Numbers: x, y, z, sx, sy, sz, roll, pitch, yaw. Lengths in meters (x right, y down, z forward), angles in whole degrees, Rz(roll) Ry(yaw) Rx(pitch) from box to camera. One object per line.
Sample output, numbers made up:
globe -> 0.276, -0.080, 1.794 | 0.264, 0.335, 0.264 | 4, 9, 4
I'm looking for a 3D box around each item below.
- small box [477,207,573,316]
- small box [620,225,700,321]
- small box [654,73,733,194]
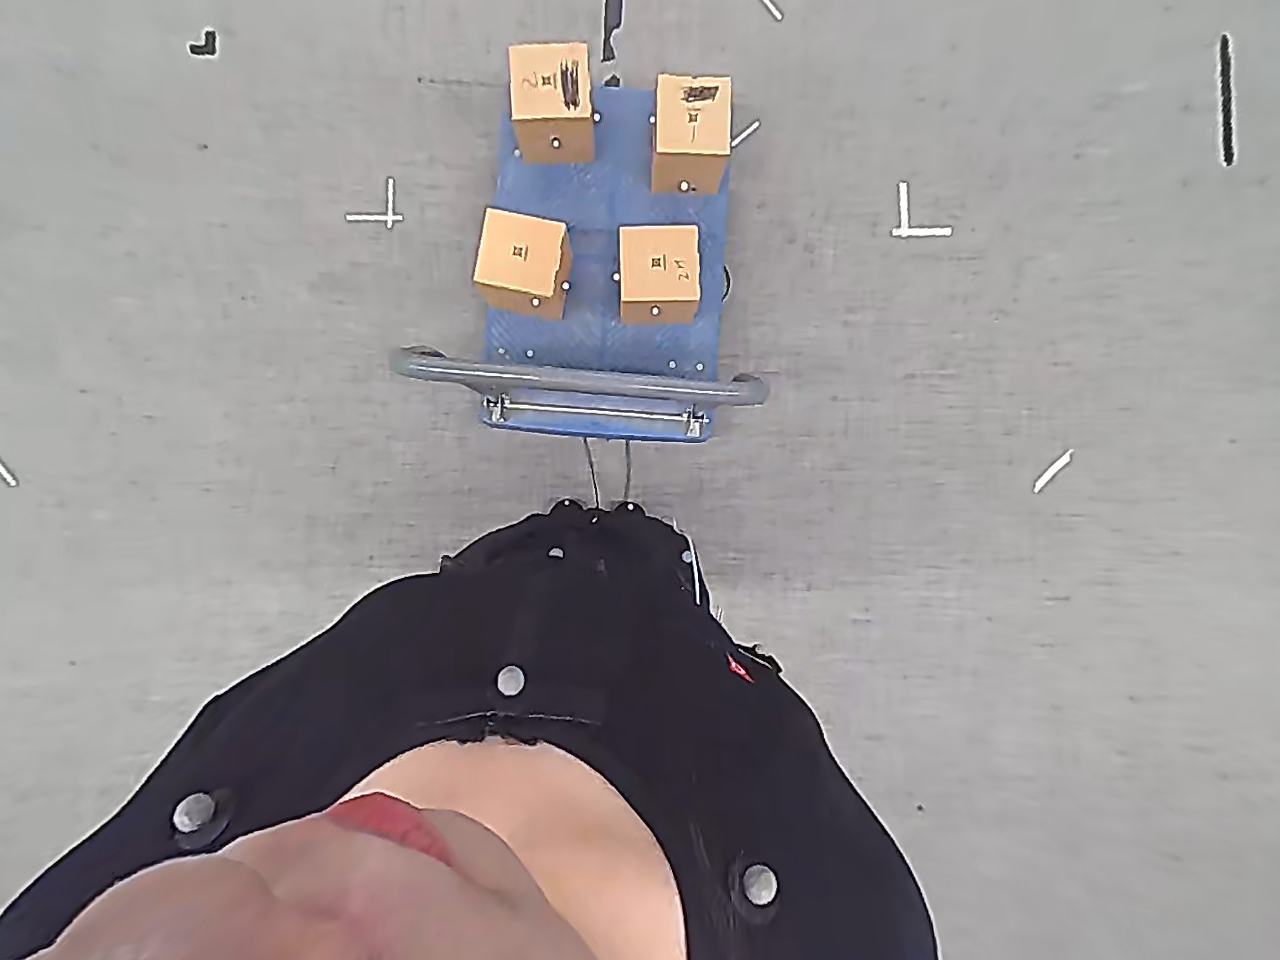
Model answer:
small box -> -0.260, -0.498, 1.257 | 0.179, 0.176, 0.168 | 10, 88, -3
small box -> 0.044, -0.478, 1.268 | 0.179, 0.176, 0.168 | -1, 89, -2
small box -> 0.119, -0.809, 1.276 | 0.168, 0.176, 0.179 | 1, 90, -2
